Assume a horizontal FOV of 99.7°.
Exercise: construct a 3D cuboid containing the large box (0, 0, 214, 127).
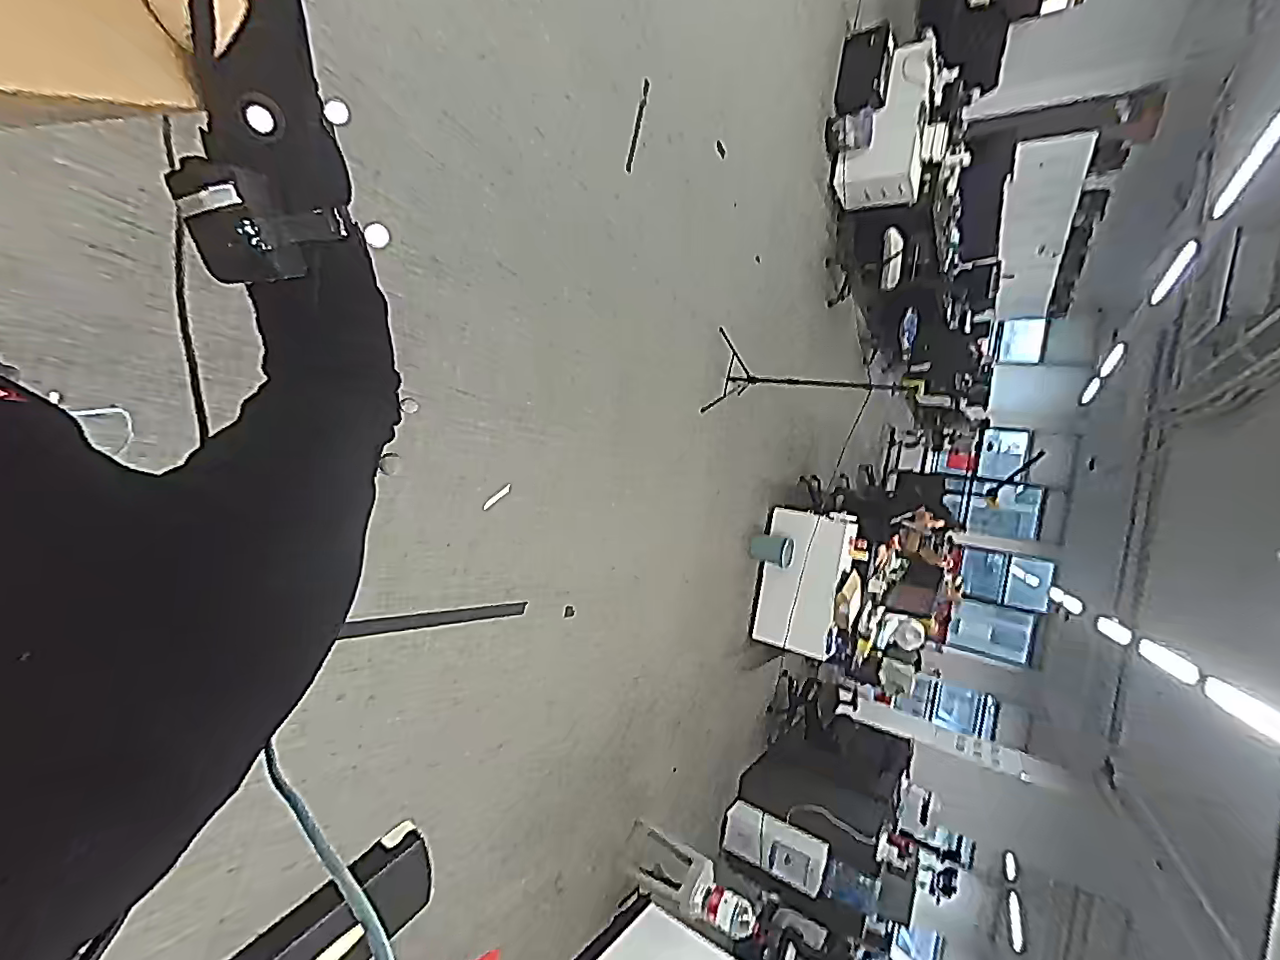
[{"bbox_3d":[-0.463,-0.297,0.148,0.408,0.320,0.320,-37,138,-49],"label":"large box"}]
